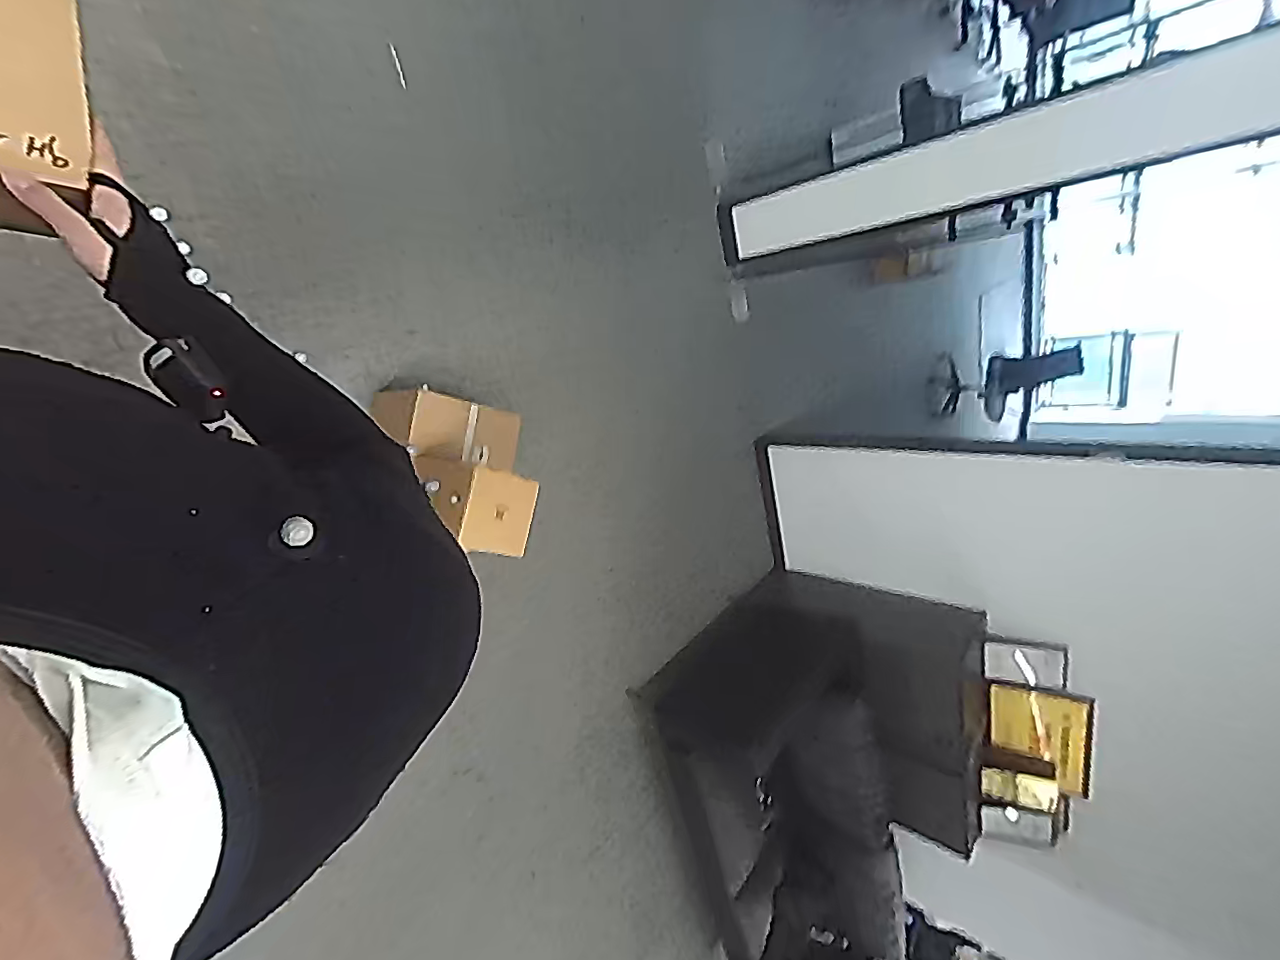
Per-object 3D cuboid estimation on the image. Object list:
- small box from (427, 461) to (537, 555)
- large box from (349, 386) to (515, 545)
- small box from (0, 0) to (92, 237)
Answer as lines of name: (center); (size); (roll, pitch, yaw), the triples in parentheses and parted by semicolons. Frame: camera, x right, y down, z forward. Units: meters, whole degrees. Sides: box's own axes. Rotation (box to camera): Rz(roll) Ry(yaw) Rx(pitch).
small box: (-0.365, 0.062, 1.233); (0.168, 0.176, 0.179); (18, 81, -44)
large box: (-0.603, -0.033, 1.564); (0.320, 0.320, 0.408); (13, 85, -47)
small box: (-0.599, -0.336, 0.466); (0.168, 0.176, 0.179); (-7, 98, -44)
